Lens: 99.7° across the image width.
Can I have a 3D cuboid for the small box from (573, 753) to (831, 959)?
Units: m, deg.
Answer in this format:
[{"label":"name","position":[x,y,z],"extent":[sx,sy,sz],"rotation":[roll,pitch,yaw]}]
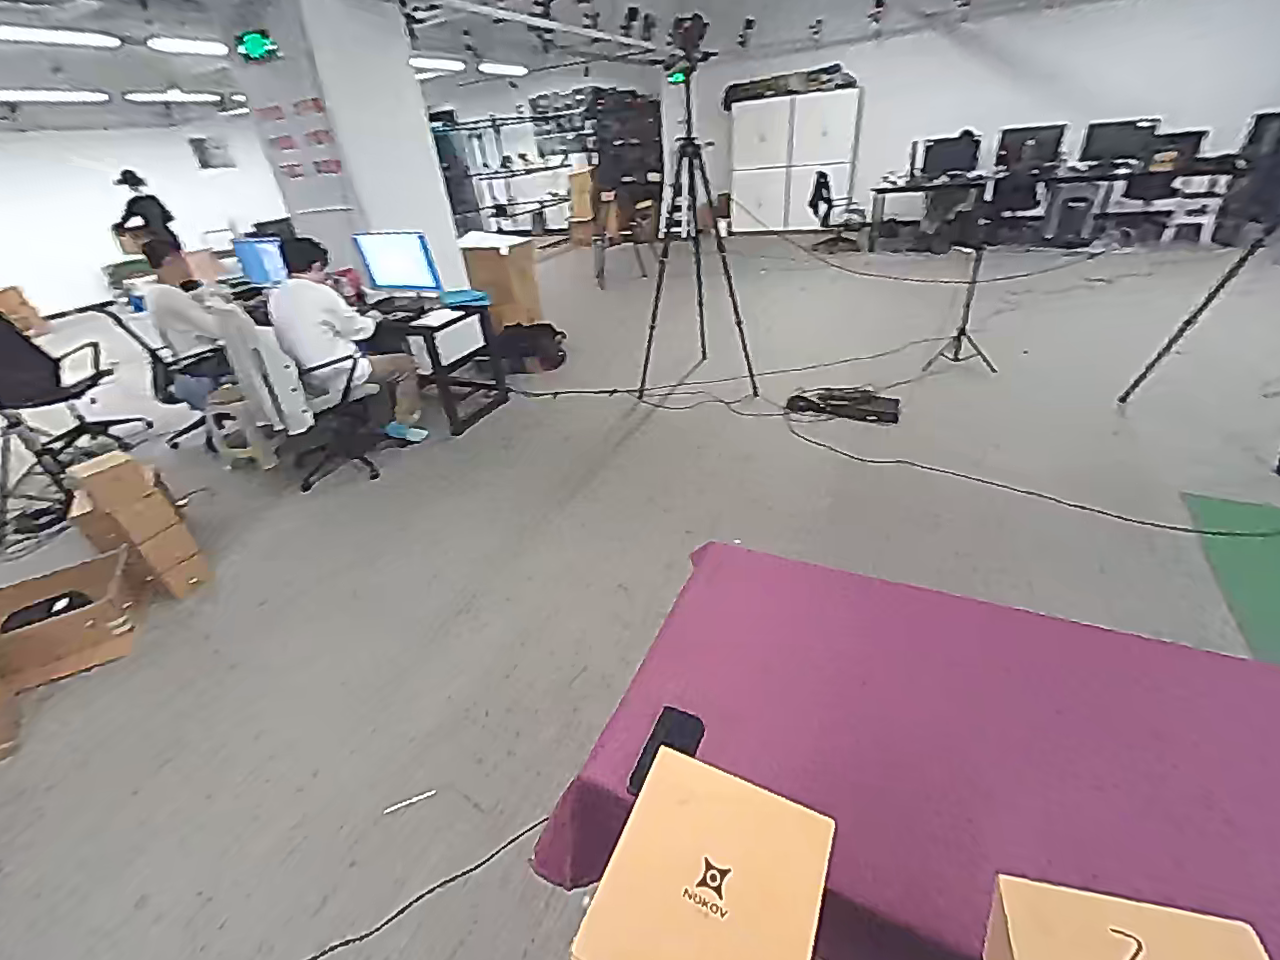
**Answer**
[{"label":"small box","position":[0.061,0.395,0.486],"extent":[0.168,0.176,0.179],"rotation":[13,42,22]}]
